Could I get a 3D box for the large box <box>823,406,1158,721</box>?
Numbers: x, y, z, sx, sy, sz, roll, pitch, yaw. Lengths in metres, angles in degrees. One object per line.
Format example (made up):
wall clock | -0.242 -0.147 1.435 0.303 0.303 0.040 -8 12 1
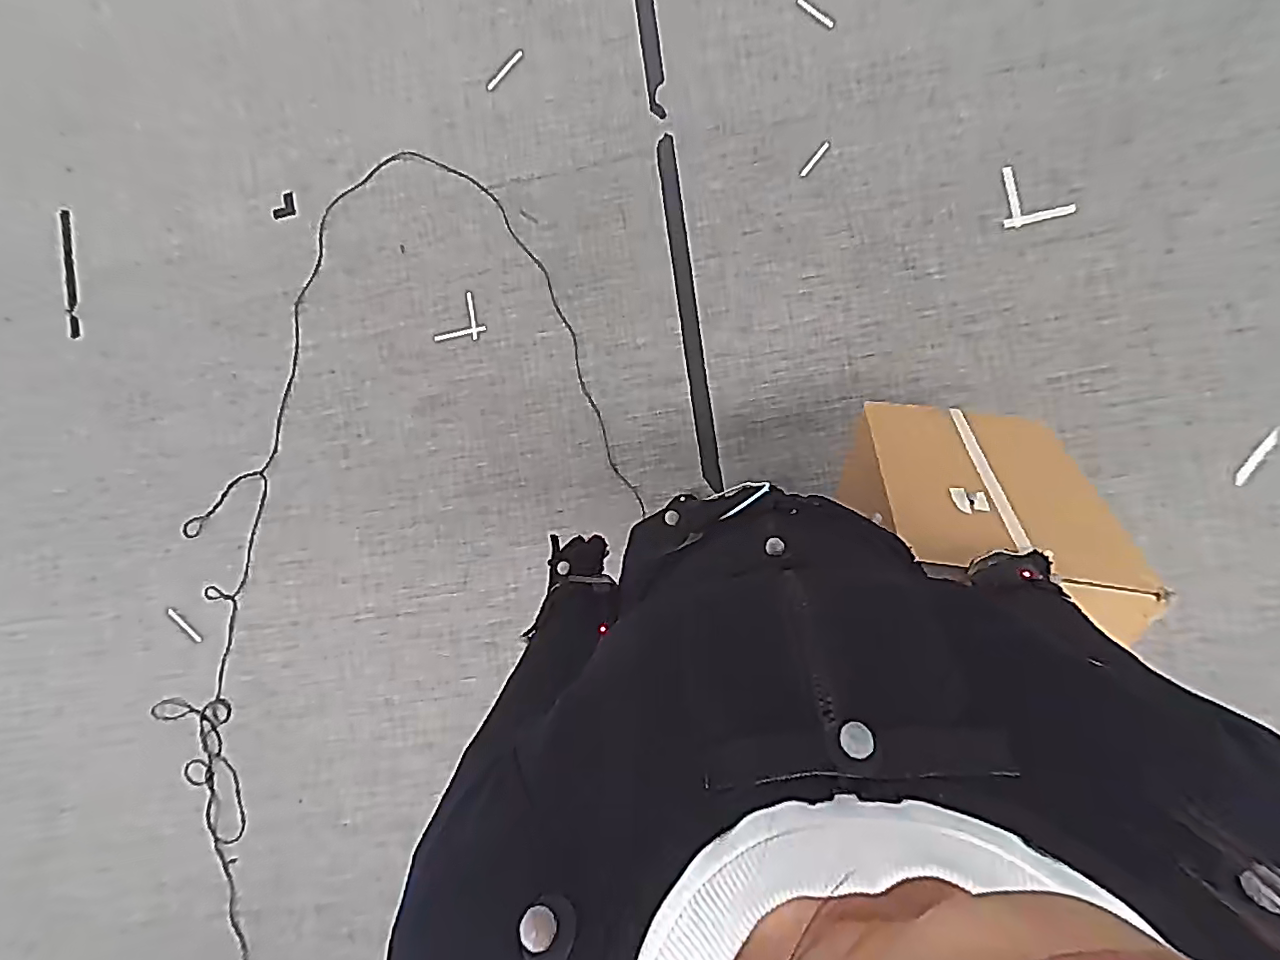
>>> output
large box | 0.513 0.122 0.918 0.320 0.408 0.320 7 131 9
